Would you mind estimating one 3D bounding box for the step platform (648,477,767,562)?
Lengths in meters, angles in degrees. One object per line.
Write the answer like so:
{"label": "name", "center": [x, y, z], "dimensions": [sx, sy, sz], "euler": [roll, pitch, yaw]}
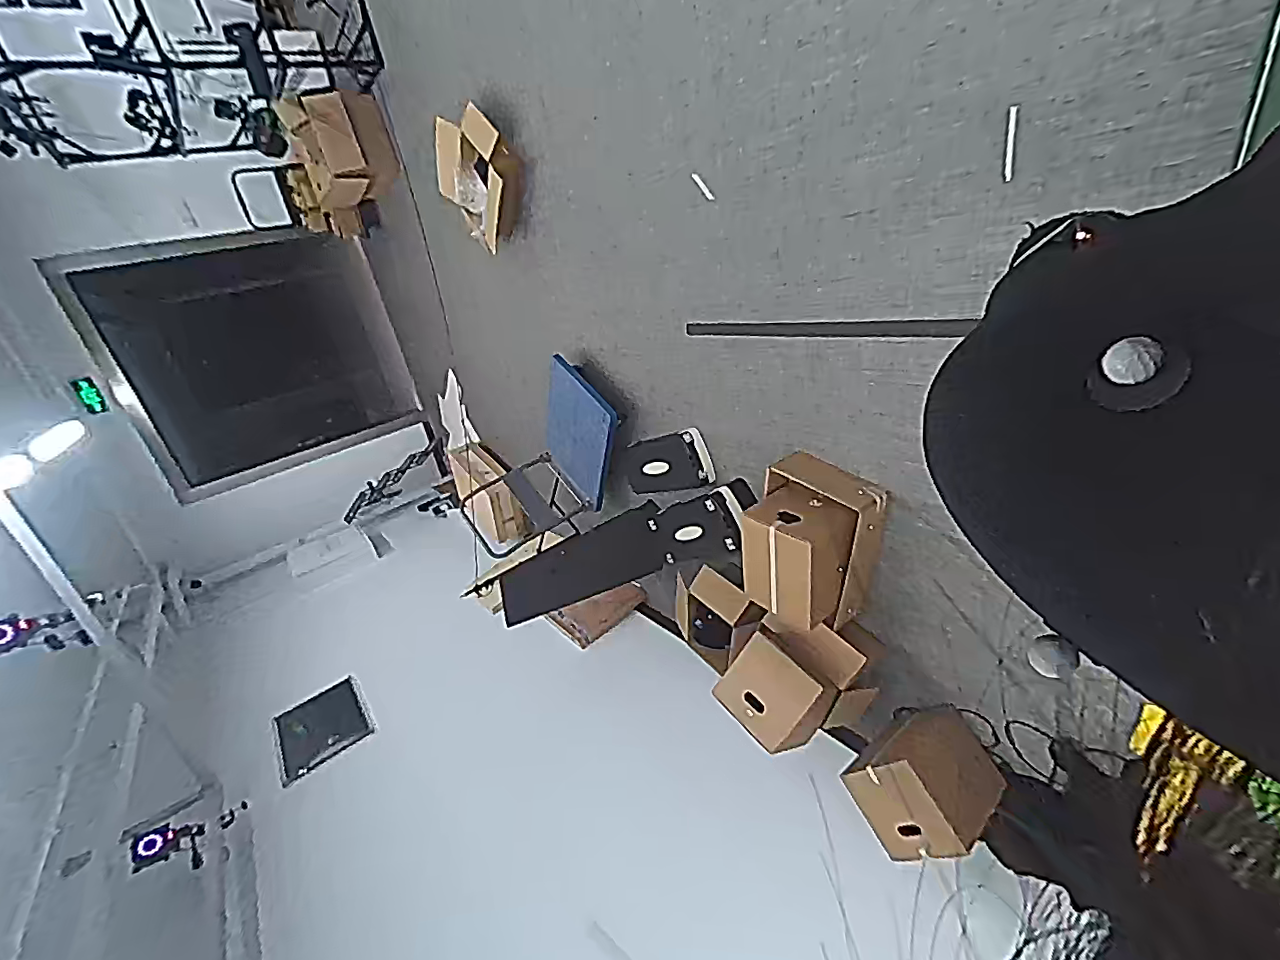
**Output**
{"label": "step platform", "center": [0.304, 0.216, 2.664], "dimensions": [0.286, 0.204, 0.684], "euler": [63, 149, 1]}
